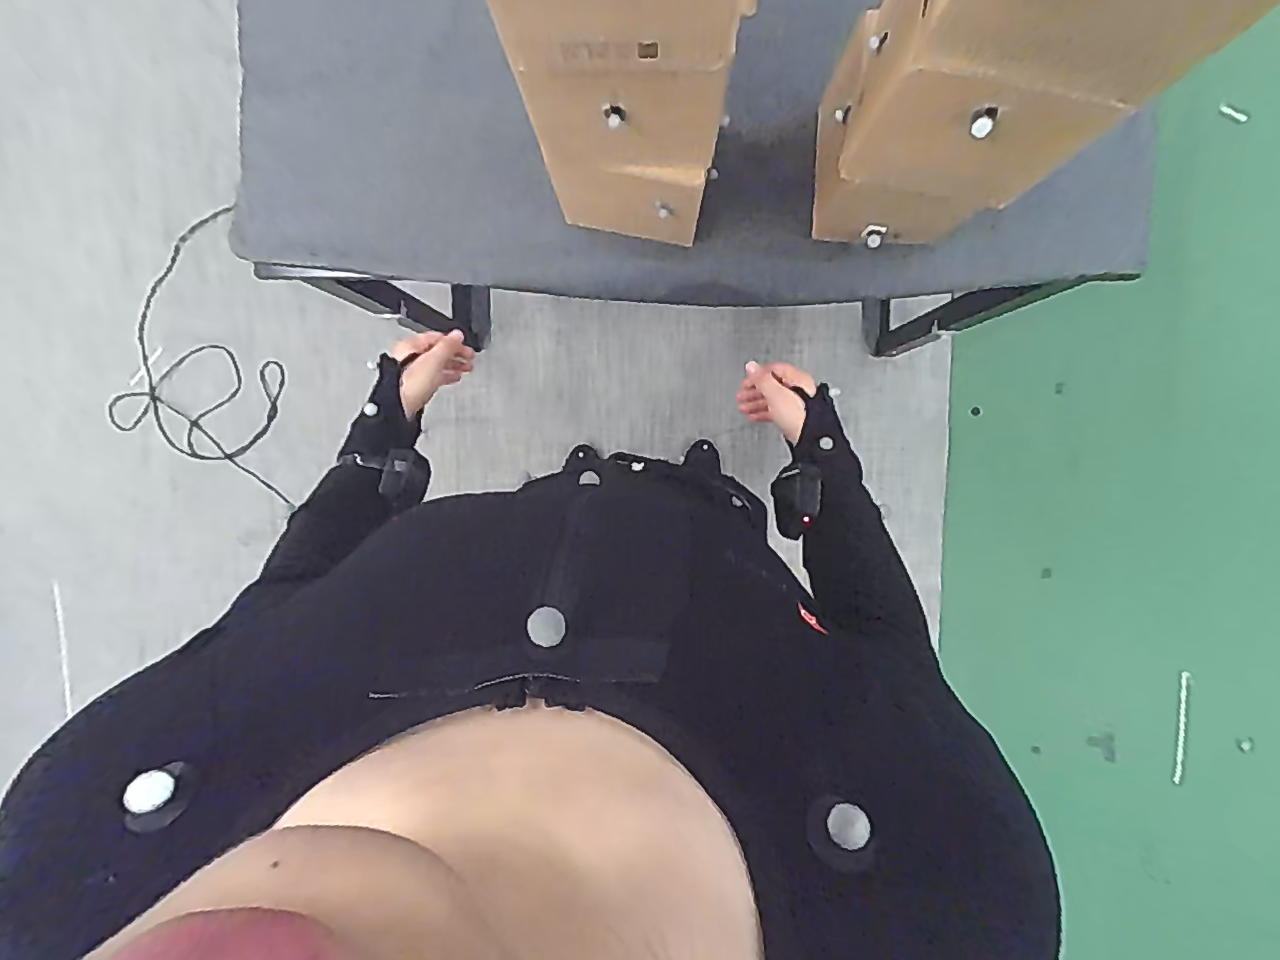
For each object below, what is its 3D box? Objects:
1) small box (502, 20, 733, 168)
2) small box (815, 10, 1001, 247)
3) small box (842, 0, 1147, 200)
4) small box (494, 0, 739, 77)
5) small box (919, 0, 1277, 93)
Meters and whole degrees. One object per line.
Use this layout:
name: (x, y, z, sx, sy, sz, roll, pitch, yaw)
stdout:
small box: (-0.012, -0.404, 0.482, 0.179, 0.176, 0.168, 2, 93, 3)
small box: (0.312, -0.396, 0.635, 0.168, 0.176, 0.179, 2, 93, 3)
small box: (0.305, -0.373, 0.474, 0.179, 0.176, 0.168, 13, 93, 3)
small box: (-0.016, -0.386, 0.319, 0.168, 0.176, 0.179, 1, 92, 2)
small box: (0.300, -0.367, 0.309, 0.179, 0.176, 0.168, 14, 93, 3)
